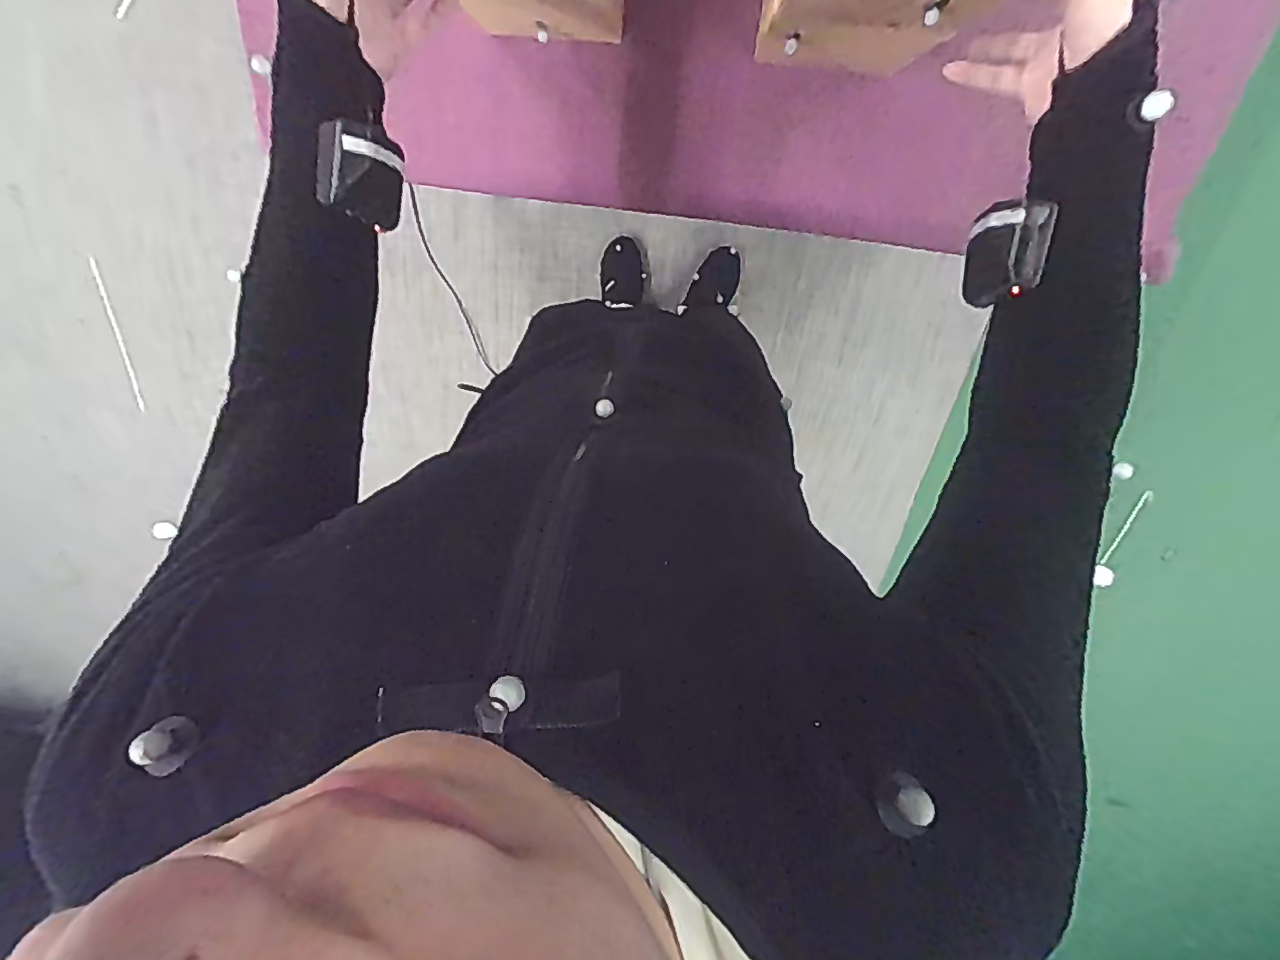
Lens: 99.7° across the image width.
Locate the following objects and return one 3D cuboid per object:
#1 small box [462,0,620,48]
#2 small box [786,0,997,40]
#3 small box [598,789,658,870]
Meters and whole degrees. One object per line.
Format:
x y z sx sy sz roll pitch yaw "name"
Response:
-0.106 -0.573 0.544 0.168 0.176 0.179 7 117 2 "small box"
0.210 -0.455 0.394 0.168 0.176 0.179 8 116 1 "small box"
-0.037 1.203 1.865 0.179 0.176 0.168 12 117 -2 "small box"
